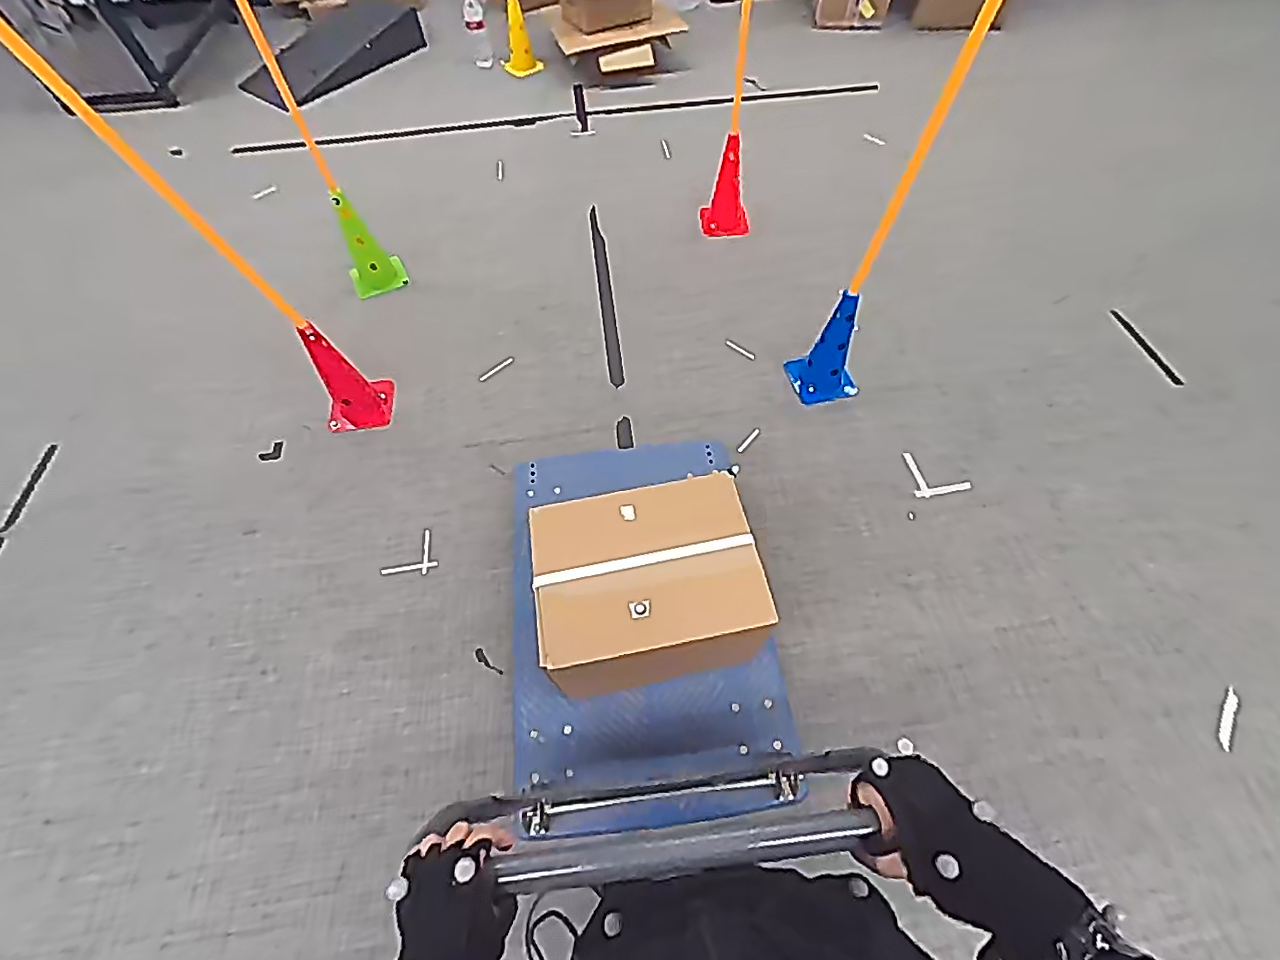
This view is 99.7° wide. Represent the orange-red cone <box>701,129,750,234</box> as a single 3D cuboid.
[{"bbox_3d":[0.360,-1.193,2.144,0.199,0.360,0.198,-1,59,0],"label":"orange-red cone"}]

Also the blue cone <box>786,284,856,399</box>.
[{"bbox_3d":[0.606,-0.440,1.693,0.193,0.380,0.192,-10,58,-5],"label":"blue cone"}]
